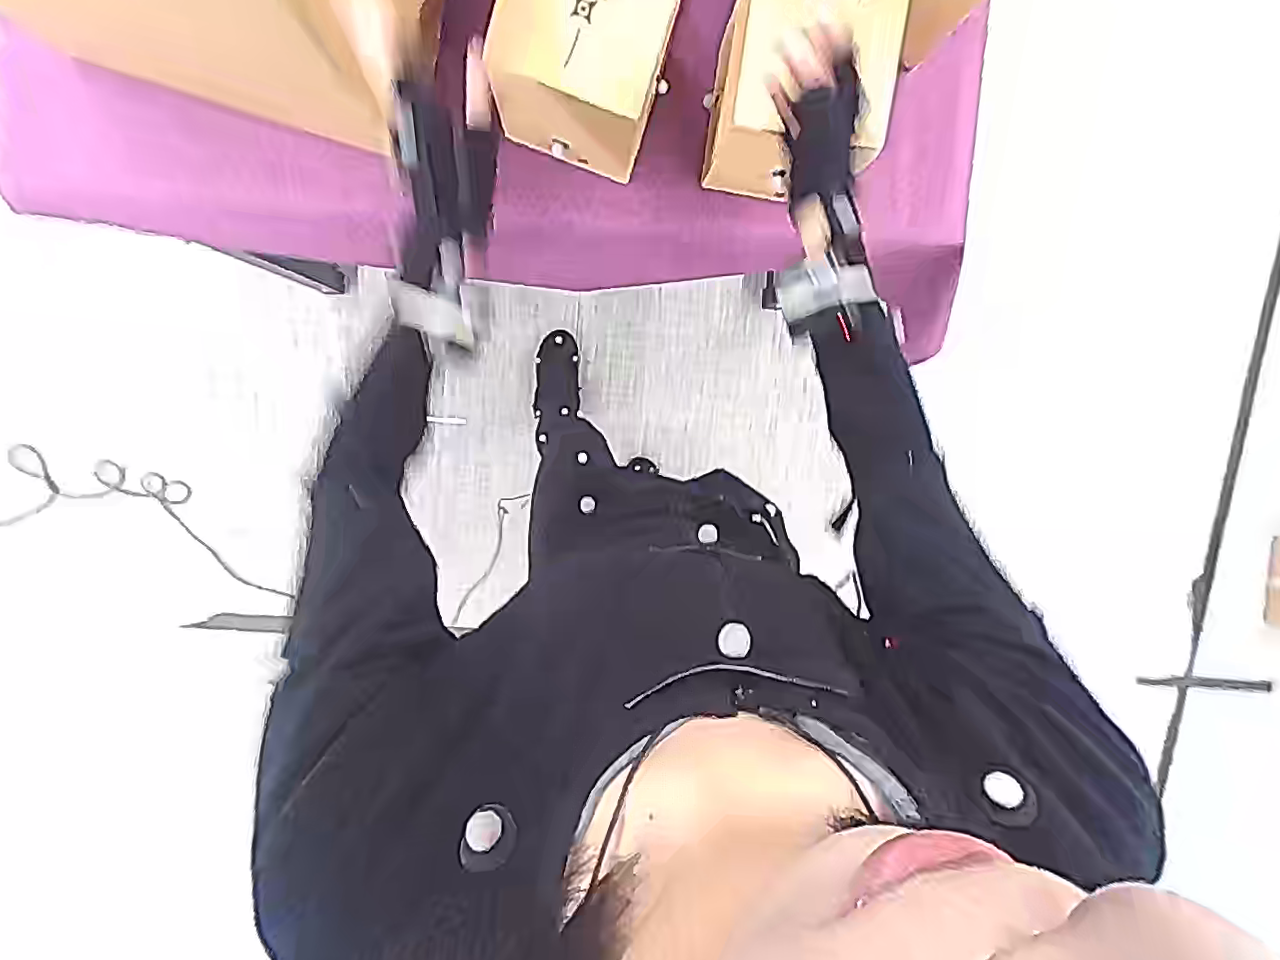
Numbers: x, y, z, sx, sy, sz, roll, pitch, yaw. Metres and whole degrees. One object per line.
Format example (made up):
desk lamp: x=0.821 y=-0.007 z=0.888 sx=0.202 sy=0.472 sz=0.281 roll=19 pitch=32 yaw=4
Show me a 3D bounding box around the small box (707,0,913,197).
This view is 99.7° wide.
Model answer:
small box: x=0.182 y=-0.458 z=0.630 sx=0.168 sy=0.176 sz=0.179 roll=8 pitch=97 yaw=-7
